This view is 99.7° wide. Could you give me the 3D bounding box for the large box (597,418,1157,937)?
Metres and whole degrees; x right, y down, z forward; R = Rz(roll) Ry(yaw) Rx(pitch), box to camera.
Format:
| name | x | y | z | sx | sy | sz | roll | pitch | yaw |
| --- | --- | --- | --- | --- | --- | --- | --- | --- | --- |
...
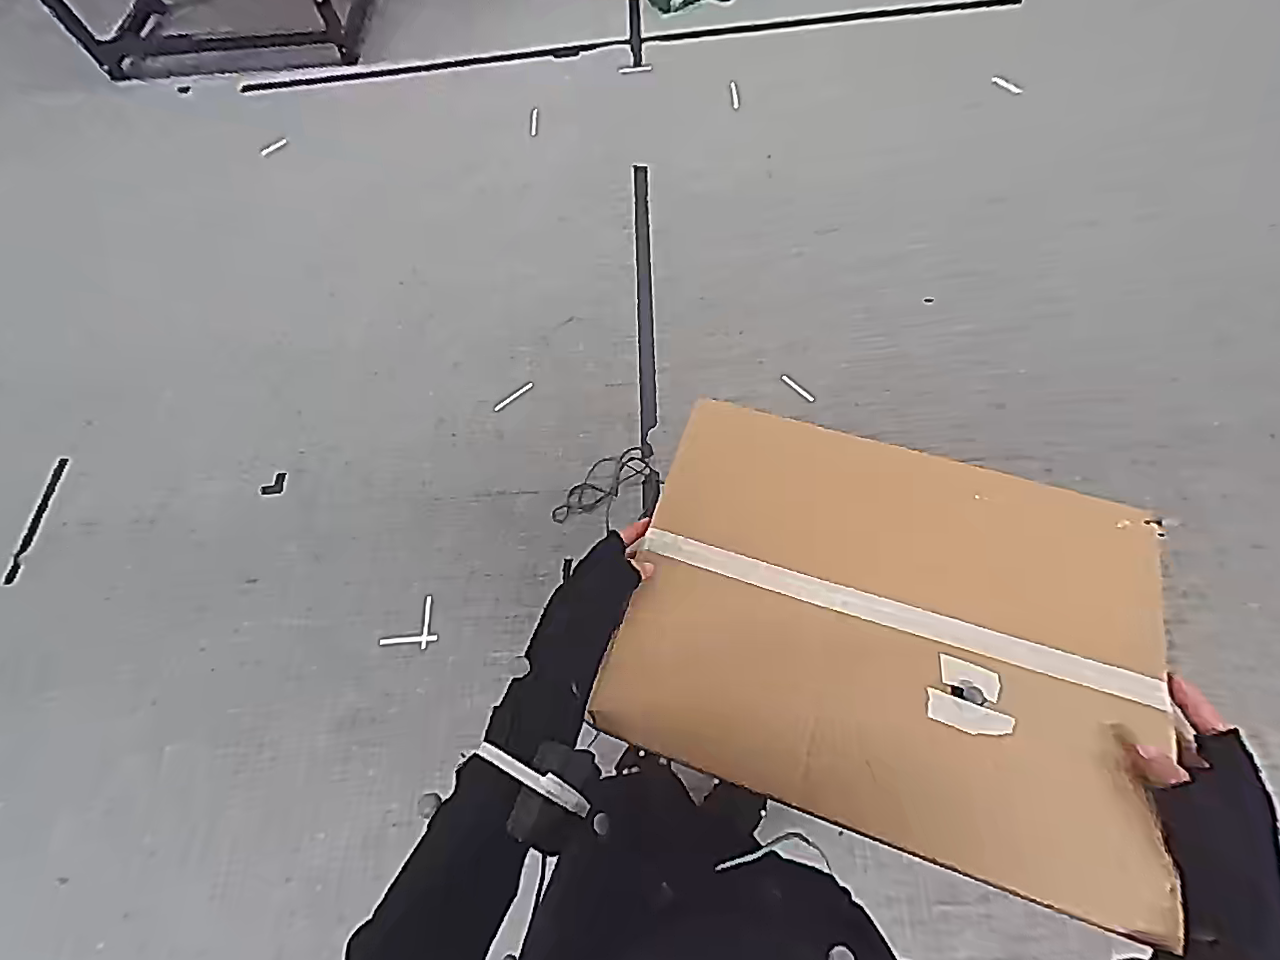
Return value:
| name | x | y | z | sx | sy | sz | roll | pitch | yaw |
| --- | --- | --- | --- | --- | --- | --- | --- | --- | --- |
| large box | 0.205 | 0.182 | 0.581 | 0.408 | 0.320 | 0.320 | 16 | 67 | 11 |
